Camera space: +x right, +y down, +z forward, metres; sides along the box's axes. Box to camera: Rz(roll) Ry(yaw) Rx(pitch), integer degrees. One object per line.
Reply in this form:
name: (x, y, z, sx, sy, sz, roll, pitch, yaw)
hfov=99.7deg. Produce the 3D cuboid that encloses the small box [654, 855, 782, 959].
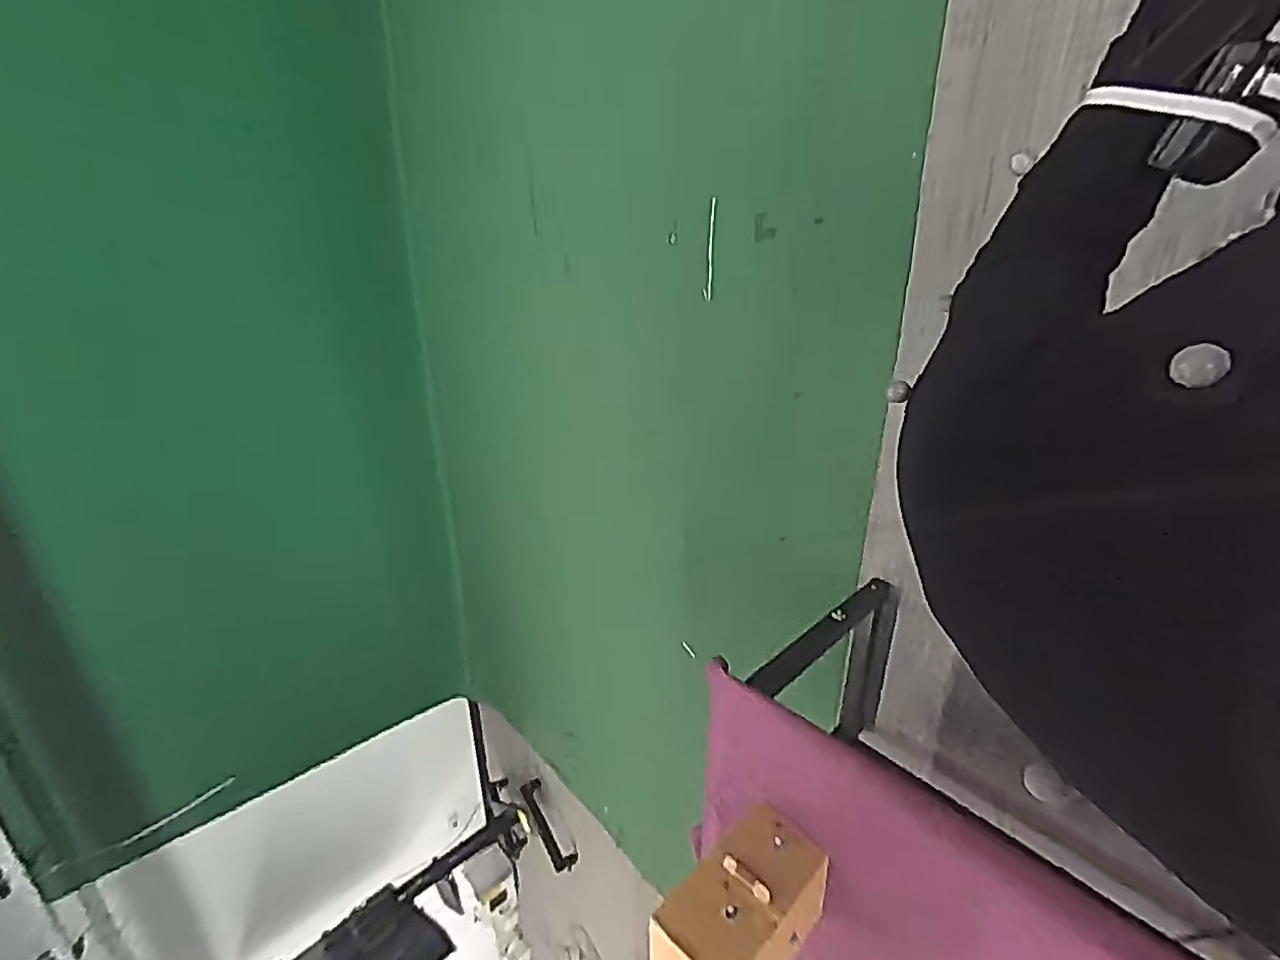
small box: (0.142, 0.845, 0.981, 0.168, 0.176, 0.179, 19, 117, 43)

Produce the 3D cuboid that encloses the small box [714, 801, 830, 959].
small box: (0.262, 0.801, 1.082, 0.168, 0.176, 0.179, 18, 117, 43)
